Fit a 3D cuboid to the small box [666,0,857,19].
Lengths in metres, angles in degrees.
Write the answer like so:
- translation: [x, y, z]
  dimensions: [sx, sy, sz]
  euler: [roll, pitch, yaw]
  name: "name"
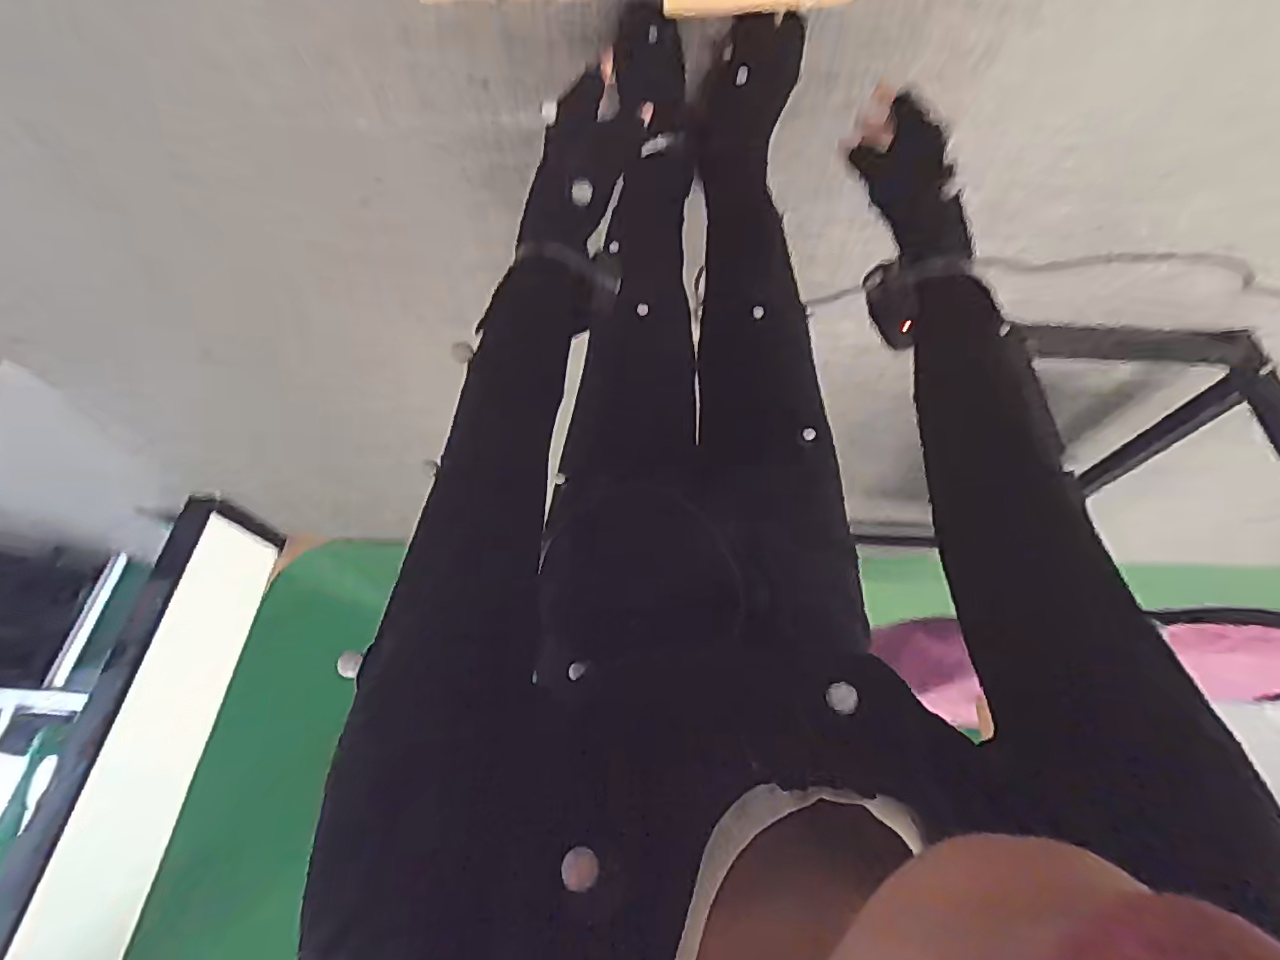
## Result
- translation: [0.110, -0.542, 0.471]
  dimensions: [0.179, 0.176, 0.168]
  euler: [0, 151, 5]
  name: "small box"
